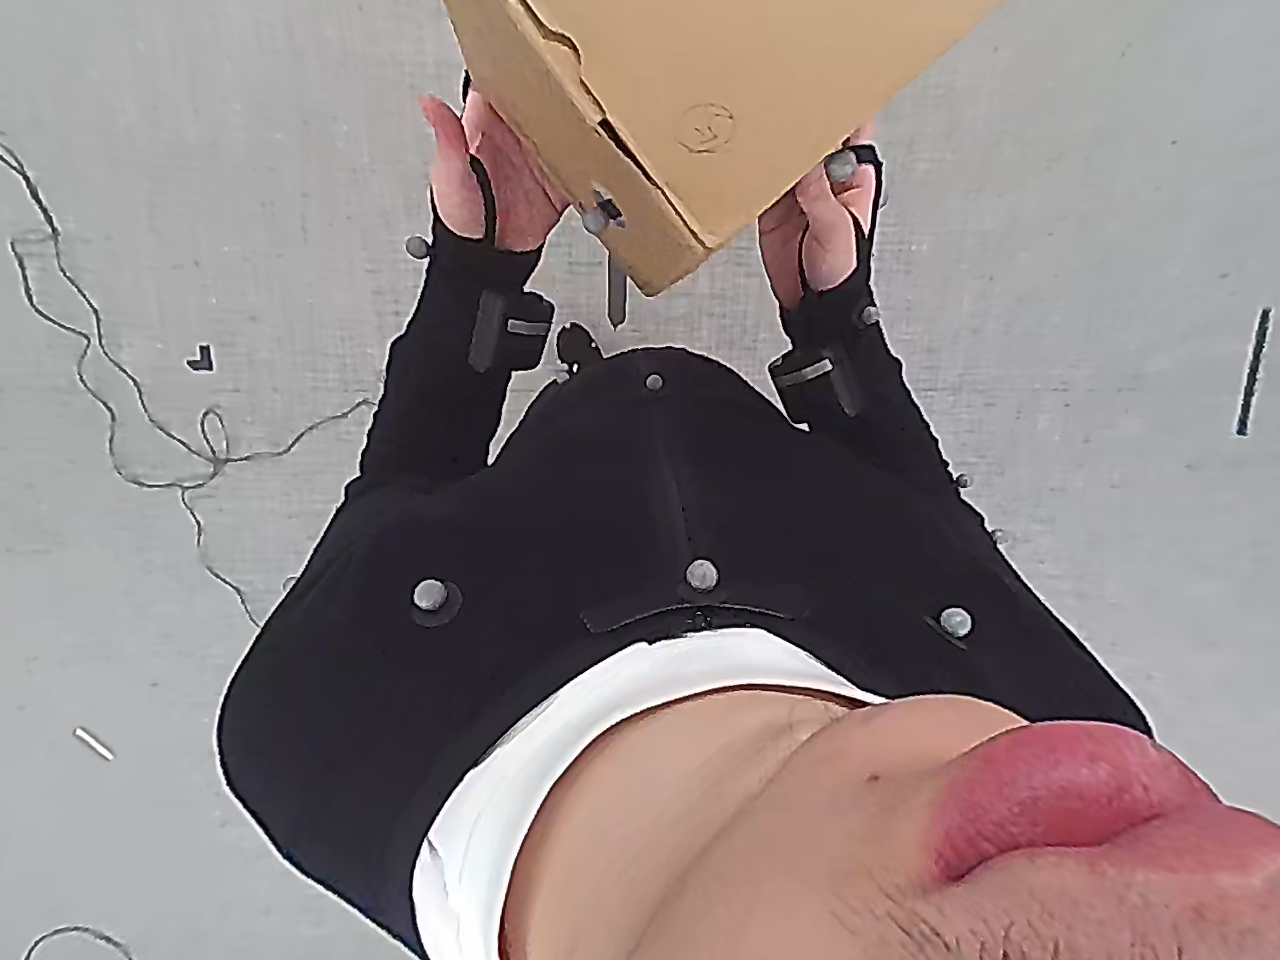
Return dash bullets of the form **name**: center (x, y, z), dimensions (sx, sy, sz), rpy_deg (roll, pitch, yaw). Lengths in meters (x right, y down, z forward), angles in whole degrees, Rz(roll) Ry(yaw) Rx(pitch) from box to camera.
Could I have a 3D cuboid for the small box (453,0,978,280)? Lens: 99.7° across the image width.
- **small box**: center (0.025, -0.222, 0.263), dimensions (0.179, 0.176, 0.168), rpy_deg (-42, 105, 3)
